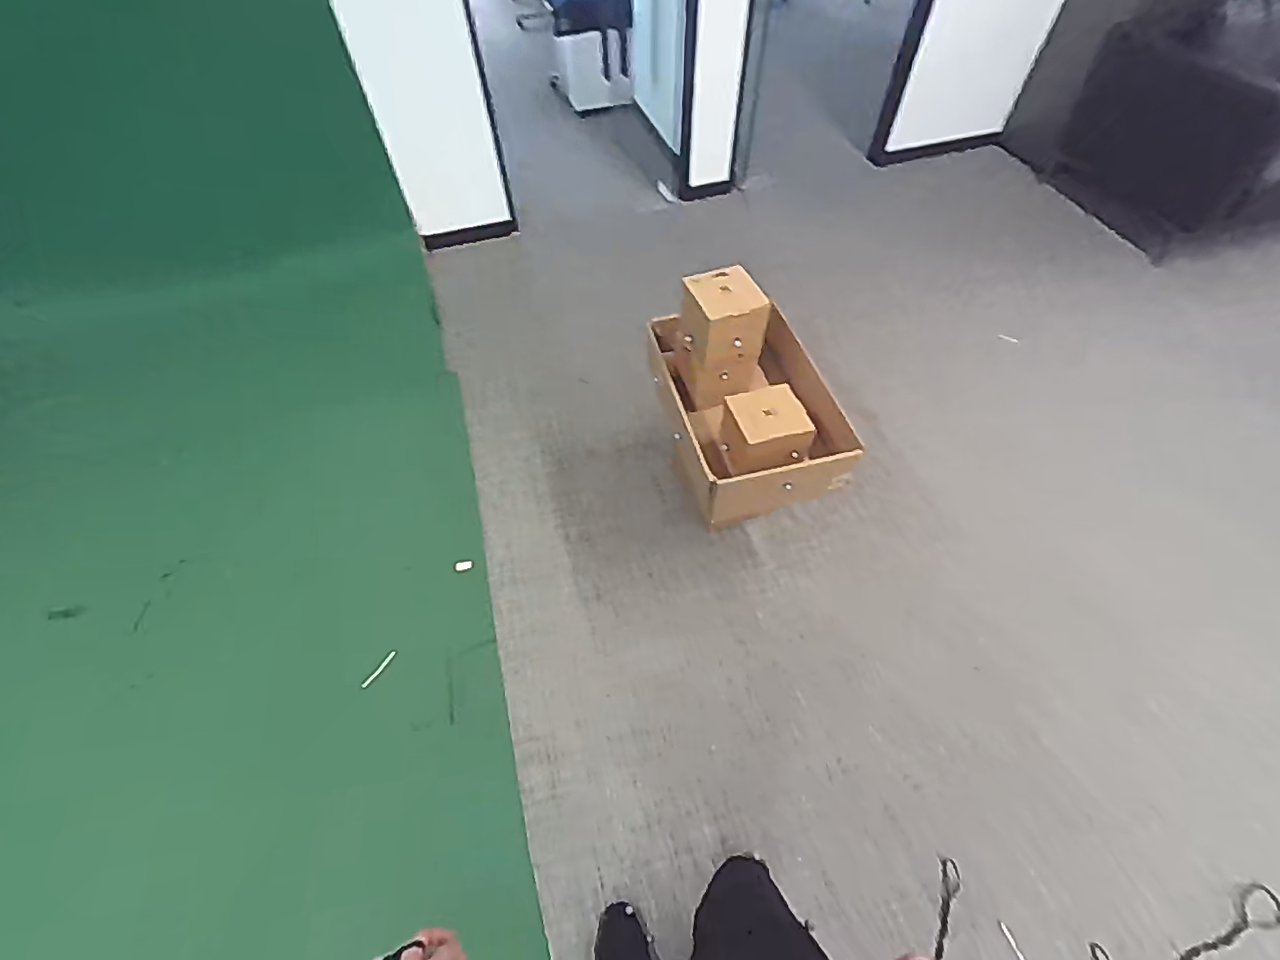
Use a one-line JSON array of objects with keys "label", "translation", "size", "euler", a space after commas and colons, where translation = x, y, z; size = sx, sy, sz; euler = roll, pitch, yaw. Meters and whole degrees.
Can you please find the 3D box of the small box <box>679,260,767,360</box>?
[{"label": "small box", "translation": [0.207, -0.431, 1.400], "size": [0.168, 0.176, 0.179], "euler": [-17, 58, -10]}]
